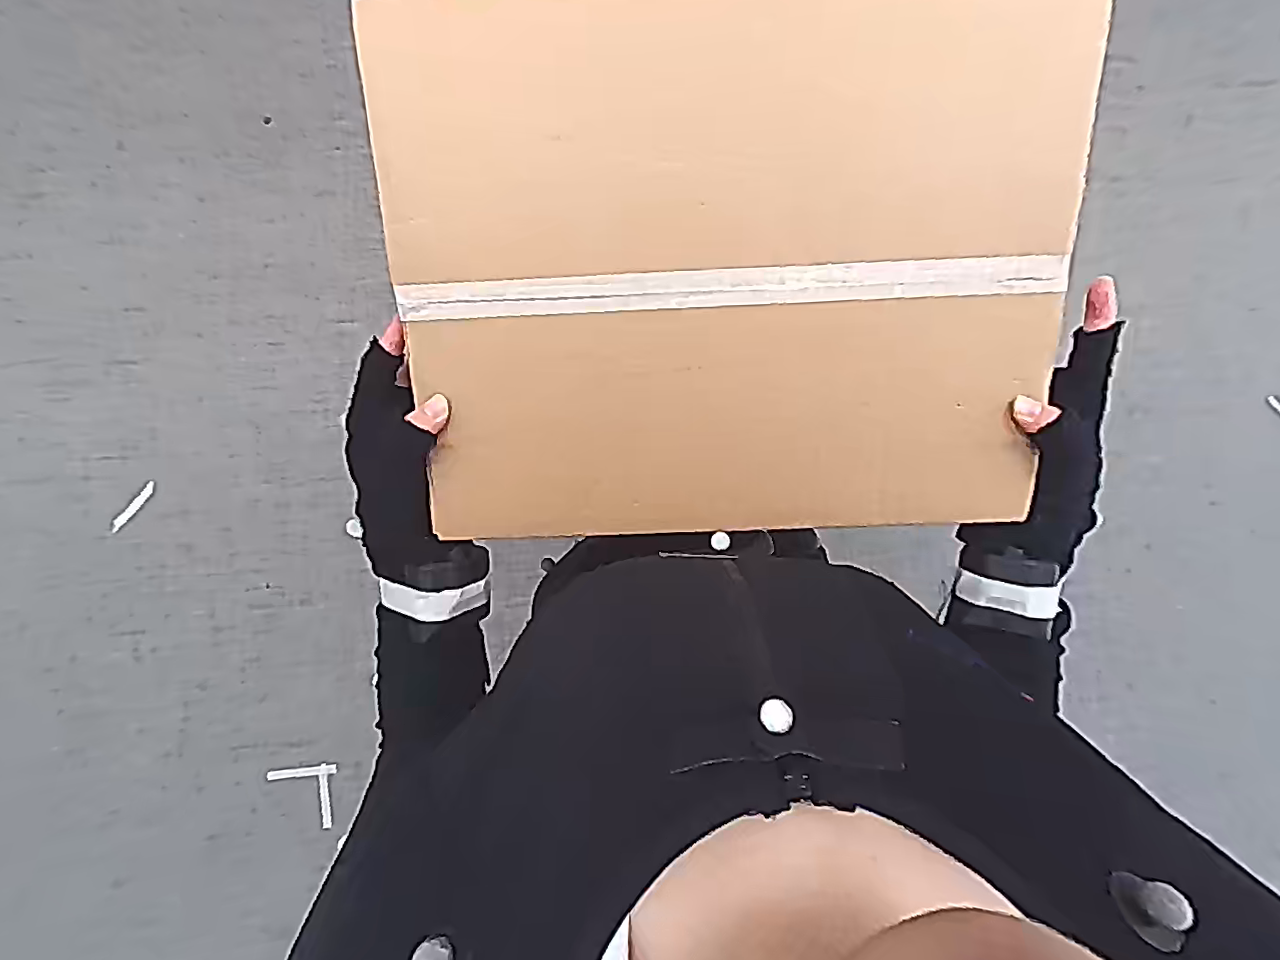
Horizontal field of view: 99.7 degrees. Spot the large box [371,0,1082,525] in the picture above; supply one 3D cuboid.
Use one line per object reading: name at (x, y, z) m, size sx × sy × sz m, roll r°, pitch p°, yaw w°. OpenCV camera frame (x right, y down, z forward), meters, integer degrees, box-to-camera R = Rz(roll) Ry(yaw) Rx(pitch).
large box at (0.052, -0.165, 0.481) m, size 0.408 × 0.320 × 0.320 m, roll -2°, pitch 107°, yaw 0°
